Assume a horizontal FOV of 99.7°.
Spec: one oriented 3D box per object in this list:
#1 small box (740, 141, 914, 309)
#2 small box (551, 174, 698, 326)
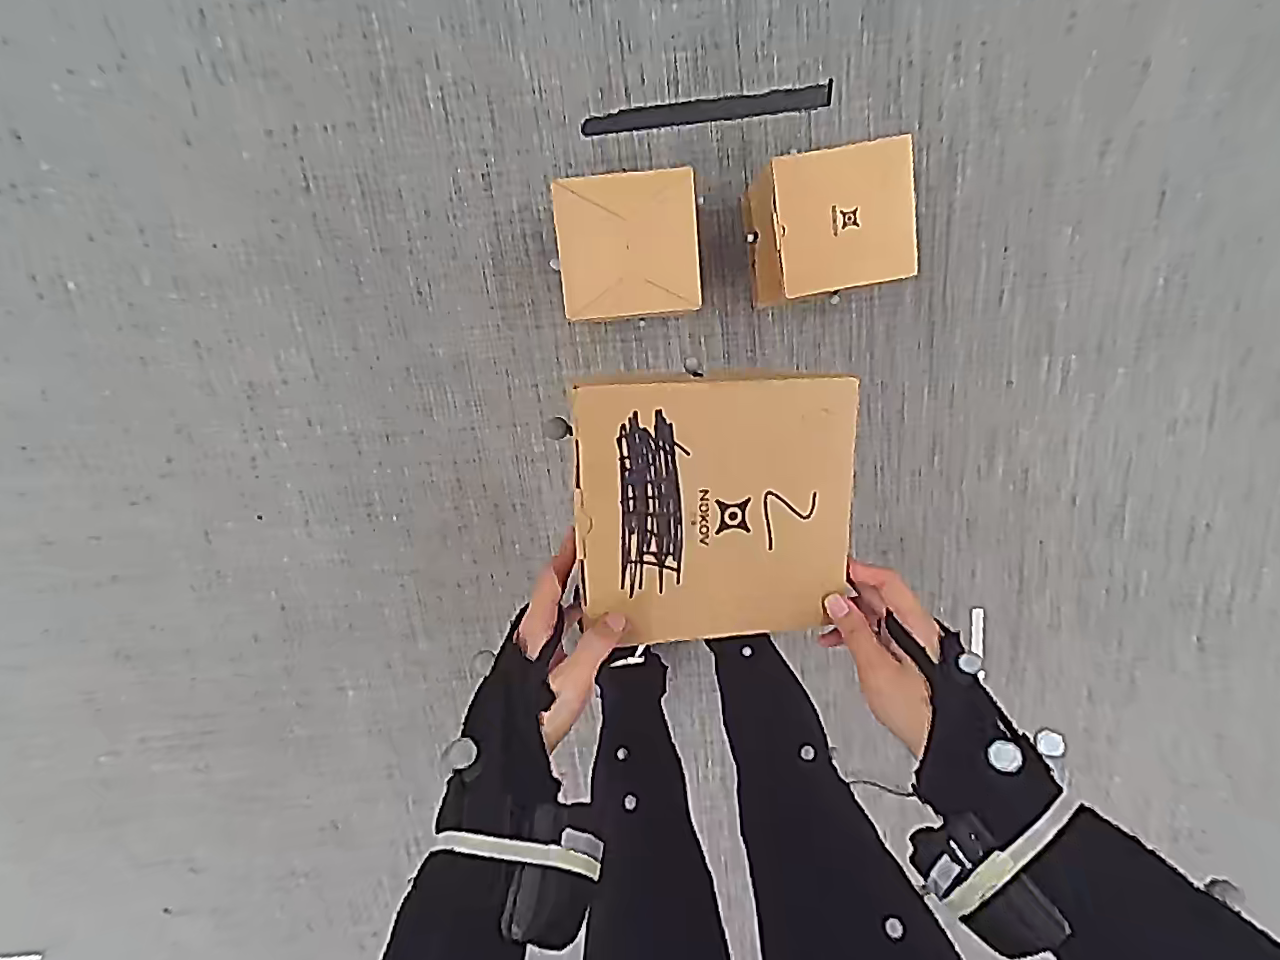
[{"bbox_3d":[0.251,-0.340,0.753,0.179,0.176,0.168,-10,104,1],"label":"small box"},{"bbox_3d":[-0.017,-0.308,0.750,0.179,0.176,0.168,-5,104,-1],"label":"small box"}]
